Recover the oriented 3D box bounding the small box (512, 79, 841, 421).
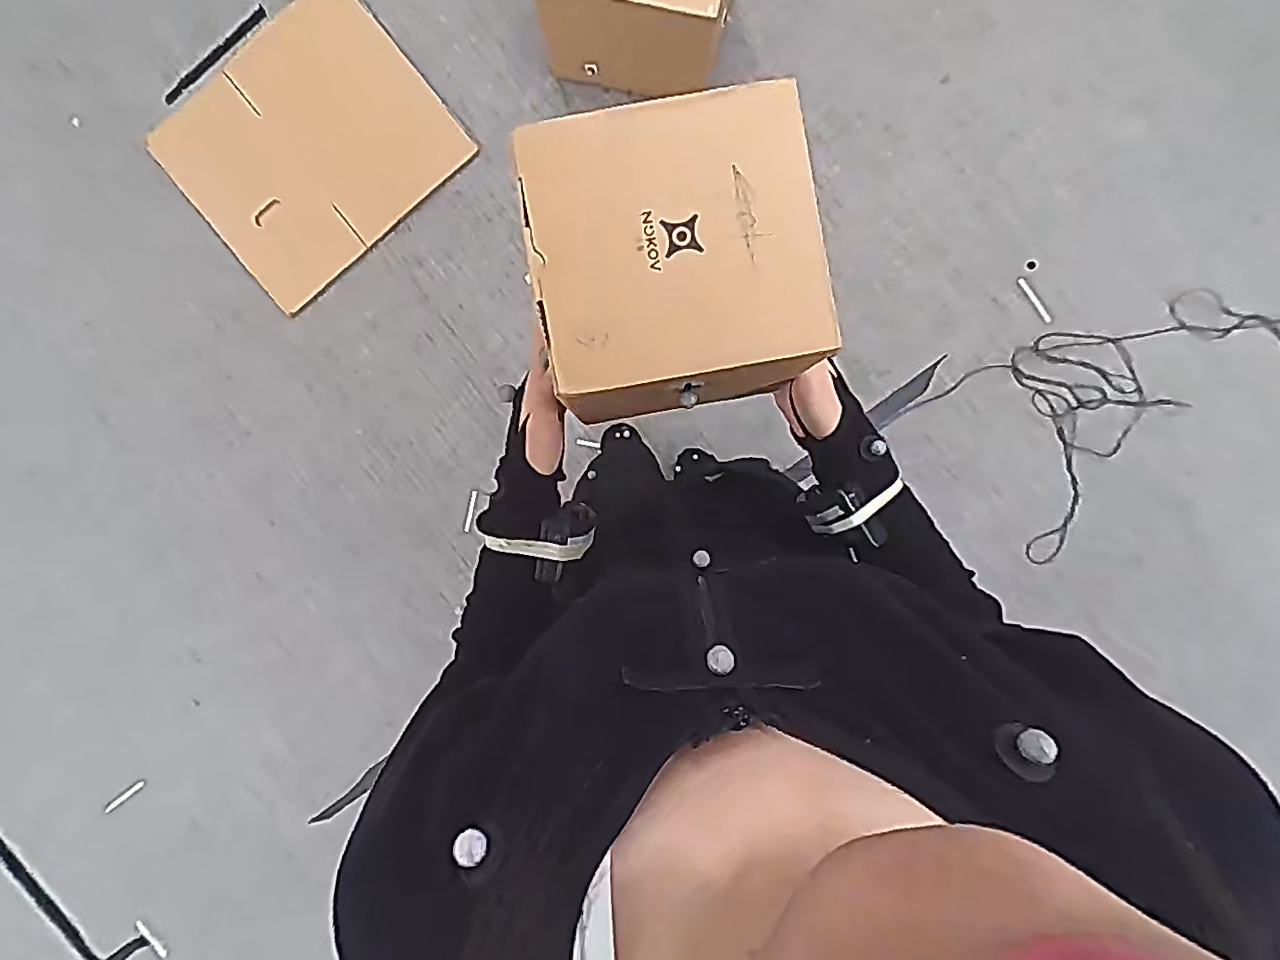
[{"bbox_3d":[0.022,-0.144,0.401,0.179,0.176,0.168,-10,90,0],"label":"small box"}]
